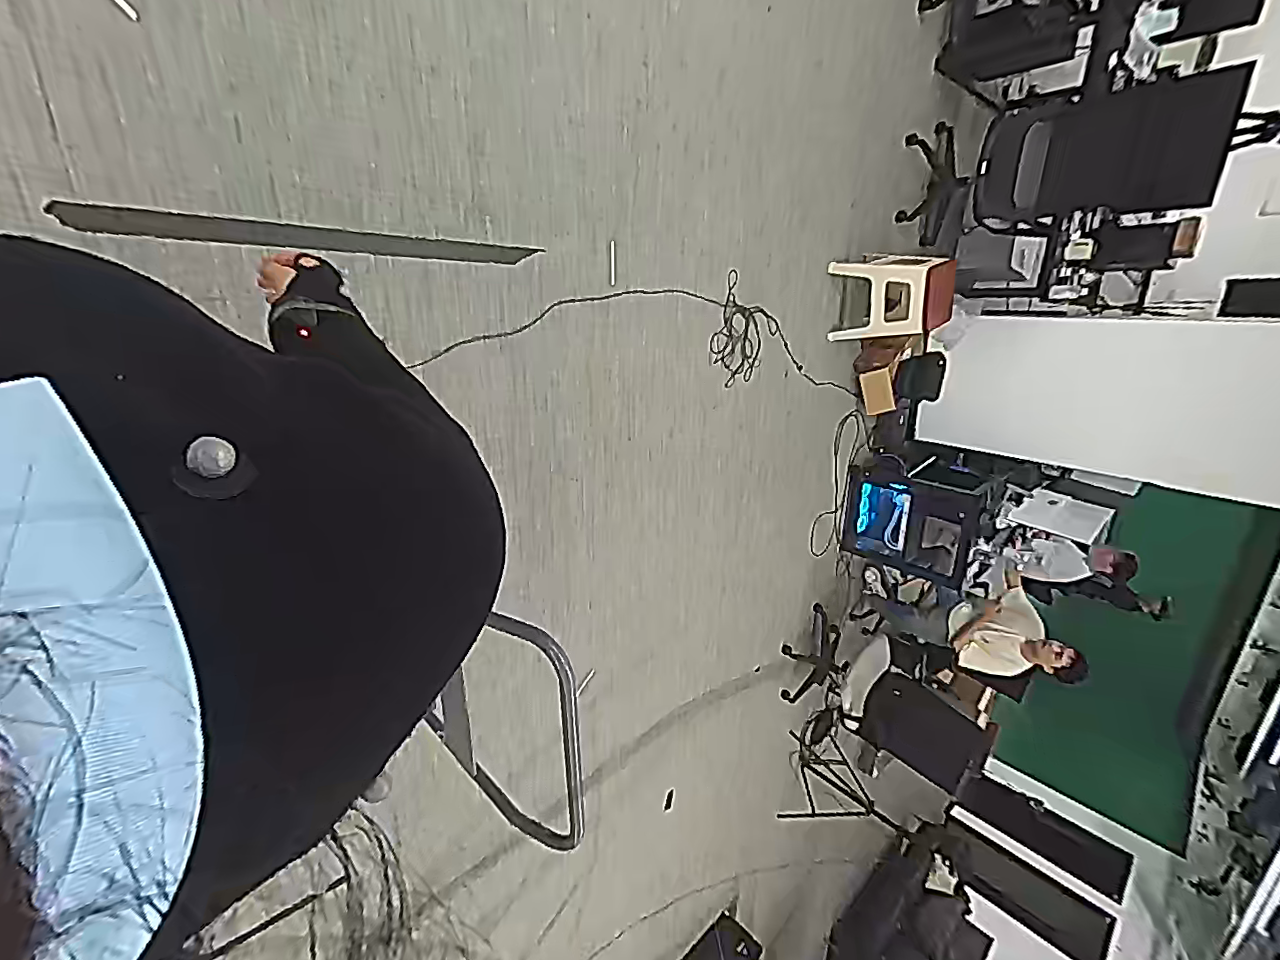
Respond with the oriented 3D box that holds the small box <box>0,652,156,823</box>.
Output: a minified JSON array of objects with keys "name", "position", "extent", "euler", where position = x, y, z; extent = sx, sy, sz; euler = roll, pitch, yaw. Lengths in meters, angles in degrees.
[{"name":"small box","position":[-0.993,0.442,0.957],"extent":[0.168,0.176,0.179],"euler":[-20,117,-39]}]
